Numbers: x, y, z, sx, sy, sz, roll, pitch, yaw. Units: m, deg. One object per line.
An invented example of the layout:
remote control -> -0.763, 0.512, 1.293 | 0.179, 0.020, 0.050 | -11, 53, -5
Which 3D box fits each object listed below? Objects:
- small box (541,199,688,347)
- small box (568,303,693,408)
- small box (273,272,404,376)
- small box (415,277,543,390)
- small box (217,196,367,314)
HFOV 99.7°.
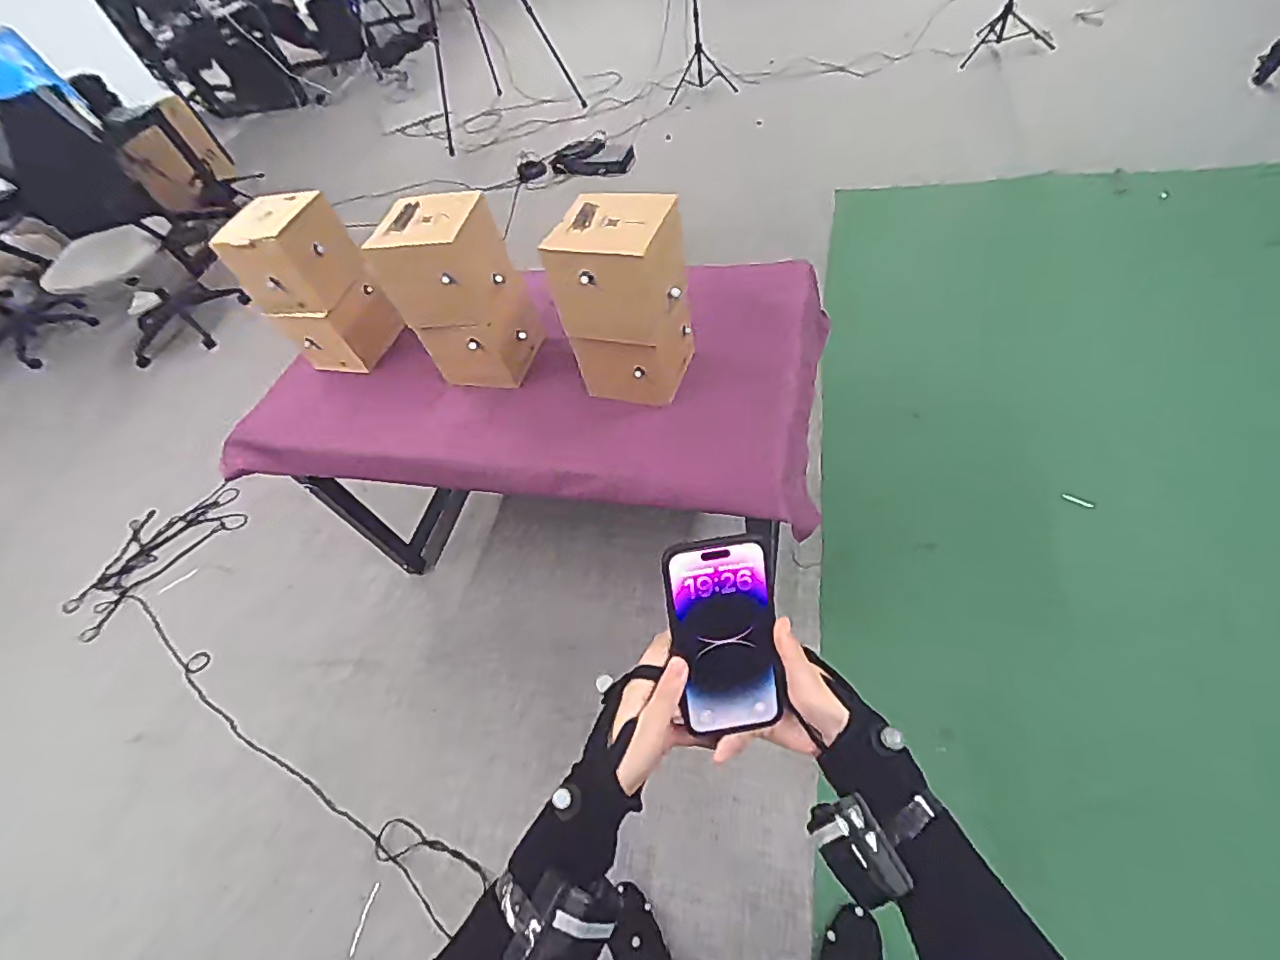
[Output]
small box -> -0.031, -0.340, 0.896 | 0.179, 0.176, 0.168 | 12, 57, 20
small box -> -0.007, -0.258, 1.036 | 0.179, 0.176, 0.168 | 12, 57, 21
small box -> -0.692, -0.364, 1.268 | 0.168, 0.176, 0.179 | 7, 56, 17
small box -> -0.327, -0.306, 1.142 | 0.179, 0.176, 0.168 | 6, 56, 17
small box -> -0.720, -0.467, 1.143 | 0.168, 0.176, 0.179 | 3, 56, 14
